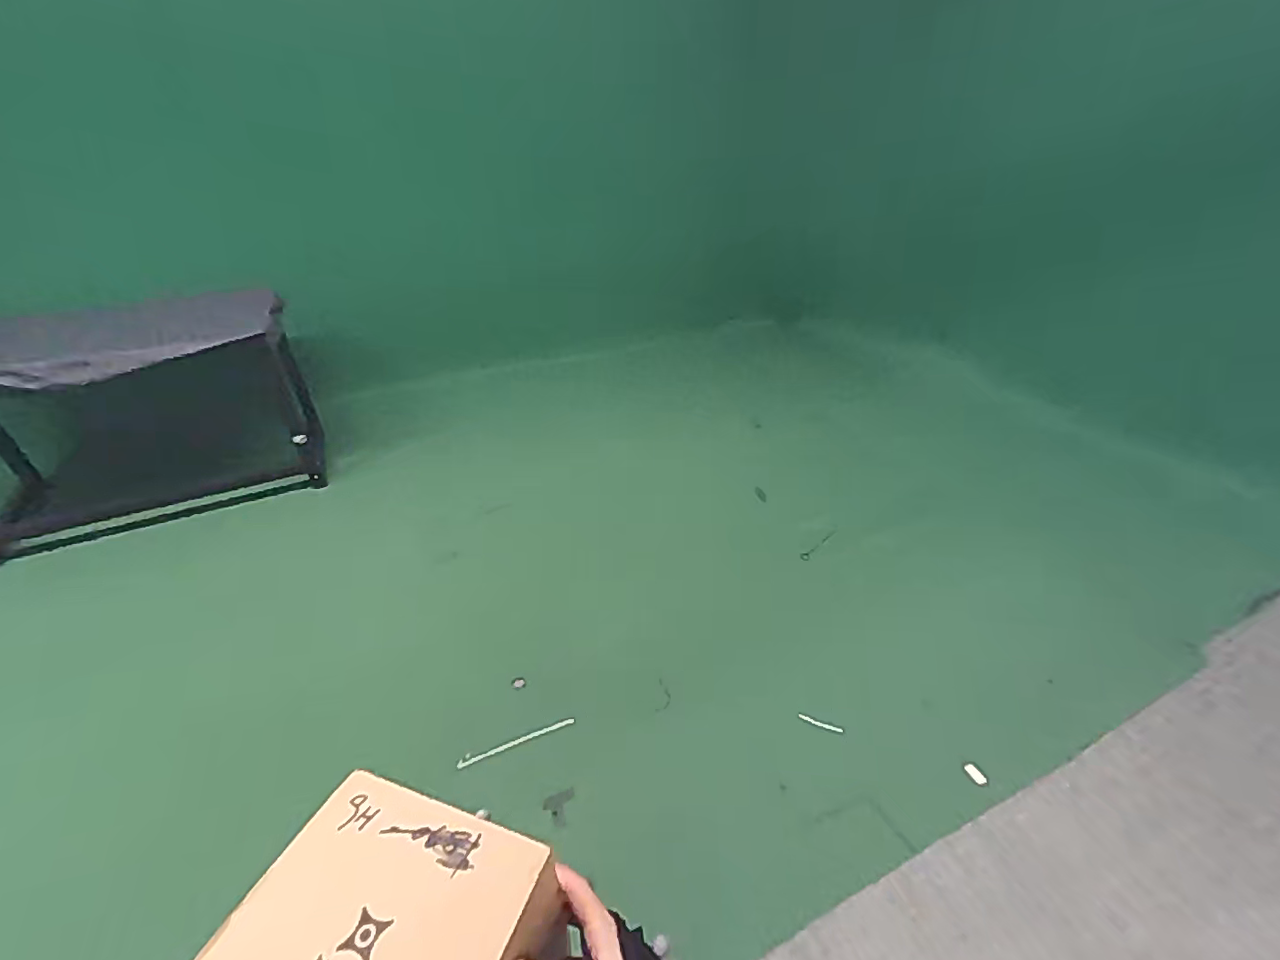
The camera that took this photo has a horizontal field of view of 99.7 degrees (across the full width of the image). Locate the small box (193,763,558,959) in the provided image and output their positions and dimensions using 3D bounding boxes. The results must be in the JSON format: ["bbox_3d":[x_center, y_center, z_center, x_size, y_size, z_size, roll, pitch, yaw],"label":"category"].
[{"bbox_3d":[-0.165,0.337,0.357,0.168,0.176,0.179,10,34,17],"label":"small box"}]
